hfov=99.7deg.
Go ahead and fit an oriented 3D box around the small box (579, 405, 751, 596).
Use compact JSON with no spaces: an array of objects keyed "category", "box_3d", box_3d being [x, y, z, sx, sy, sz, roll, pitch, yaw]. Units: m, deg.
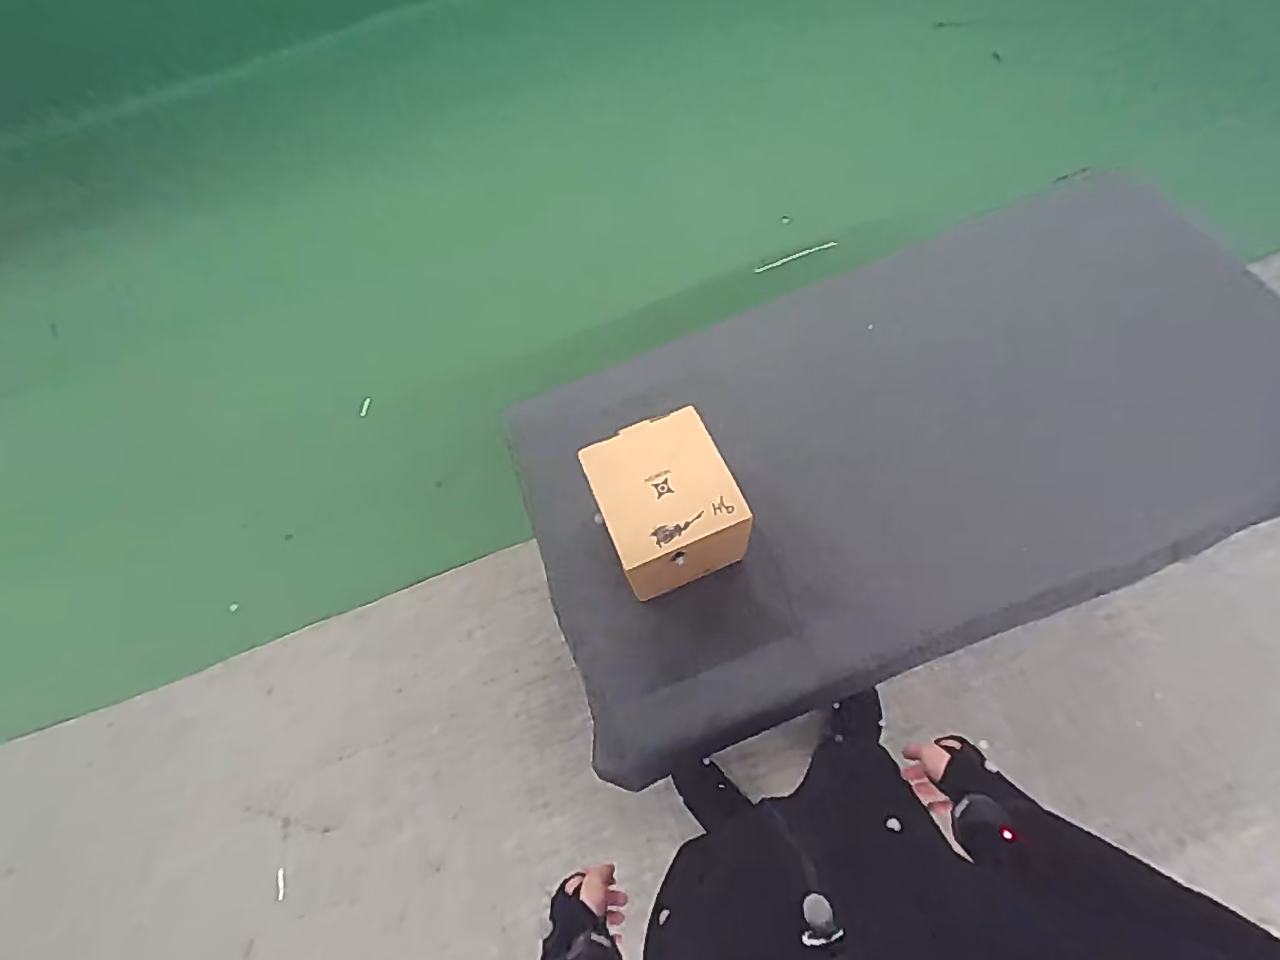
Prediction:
[{"category":"small box","box_3d":[0.034,0.035,0.736,0.168,0.176,0.179,-23,65,-3]}]
